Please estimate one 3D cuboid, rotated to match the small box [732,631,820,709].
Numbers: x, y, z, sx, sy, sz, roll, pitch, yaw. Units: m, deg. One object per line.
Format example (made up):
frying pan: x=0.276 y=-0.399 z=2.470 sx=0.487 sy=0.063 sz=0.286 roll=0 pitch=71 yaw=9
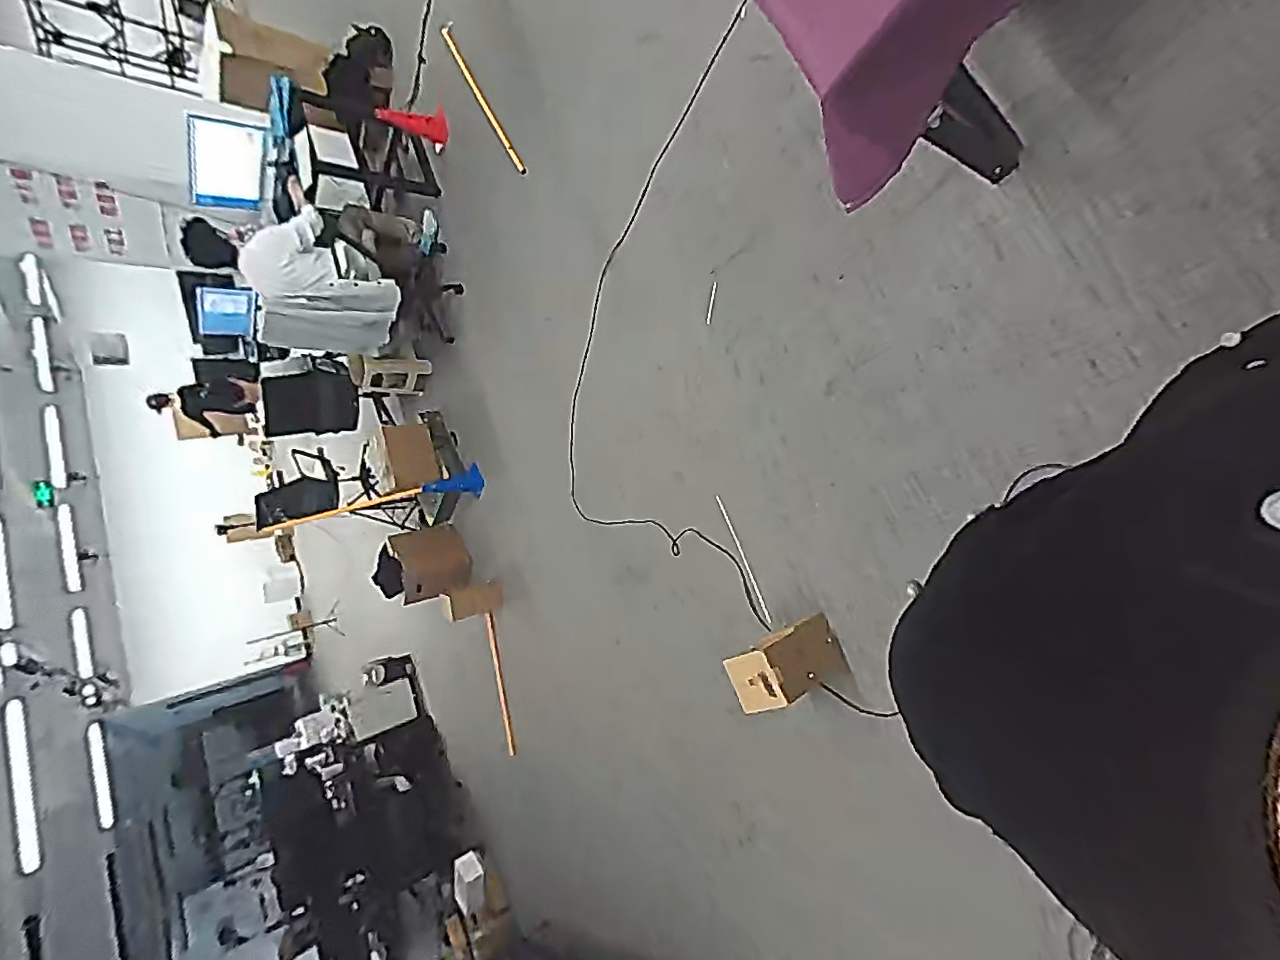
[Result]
small box: x=0.418 y=0.572 z=1.637 sx=0.179 sy=0.176 sz=0.168 roll=-39 pitch=68 yaw=47
